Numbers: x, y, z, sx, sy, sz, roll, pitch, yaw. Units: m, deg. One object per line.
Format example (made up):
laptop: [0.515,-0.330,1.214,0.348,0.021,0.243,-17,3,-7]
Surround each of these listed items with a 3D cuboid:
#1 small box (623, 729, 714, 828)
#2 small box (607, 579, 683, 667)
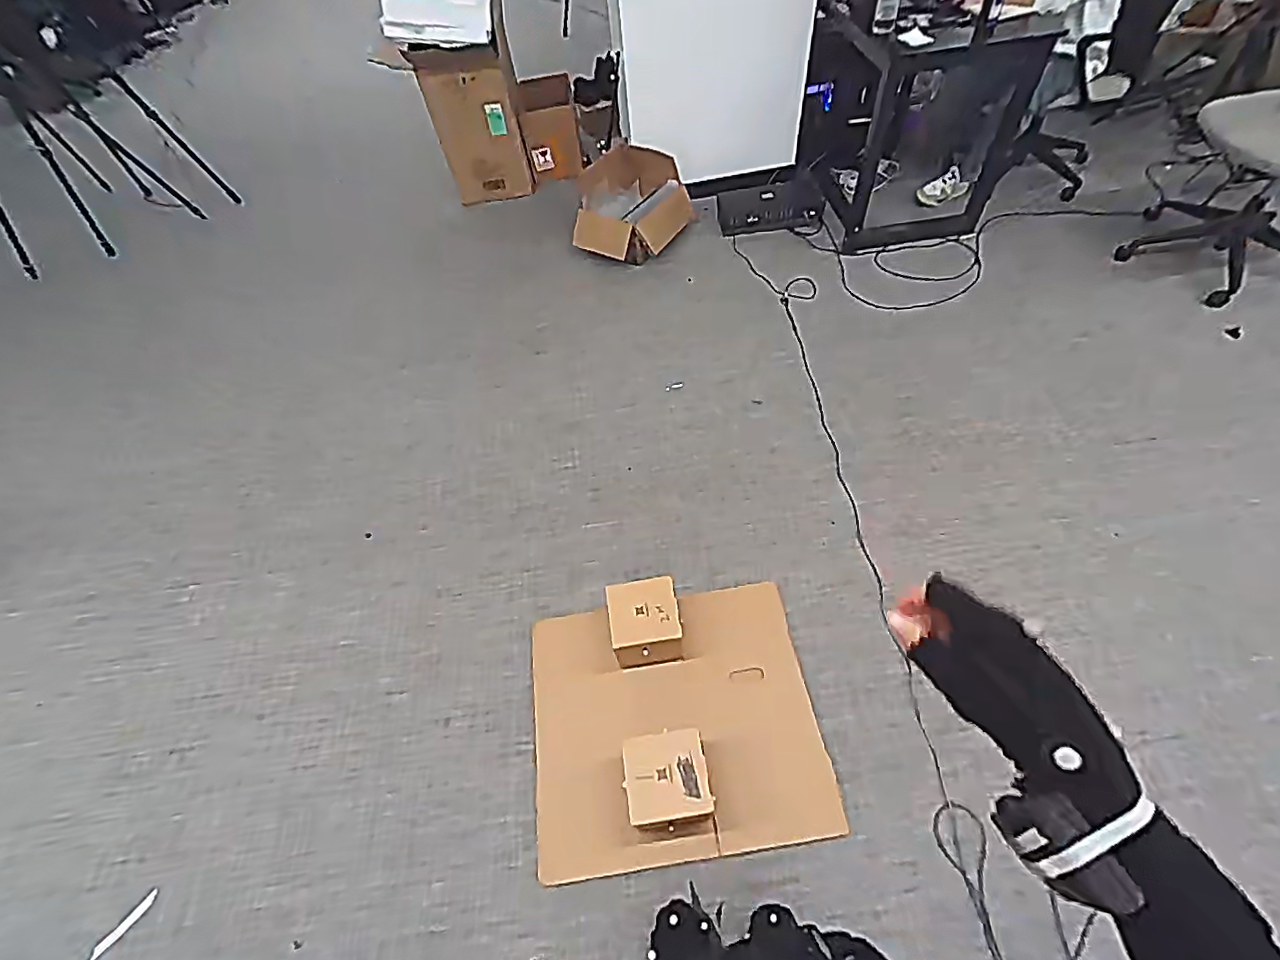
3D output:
small box: [0.063,0.673,1.215,0.179,0.176,0.168,-10,54,0]
small box: [0.015,0.381,1.425,0.179,0.176,0.168,-8,55,-1]
